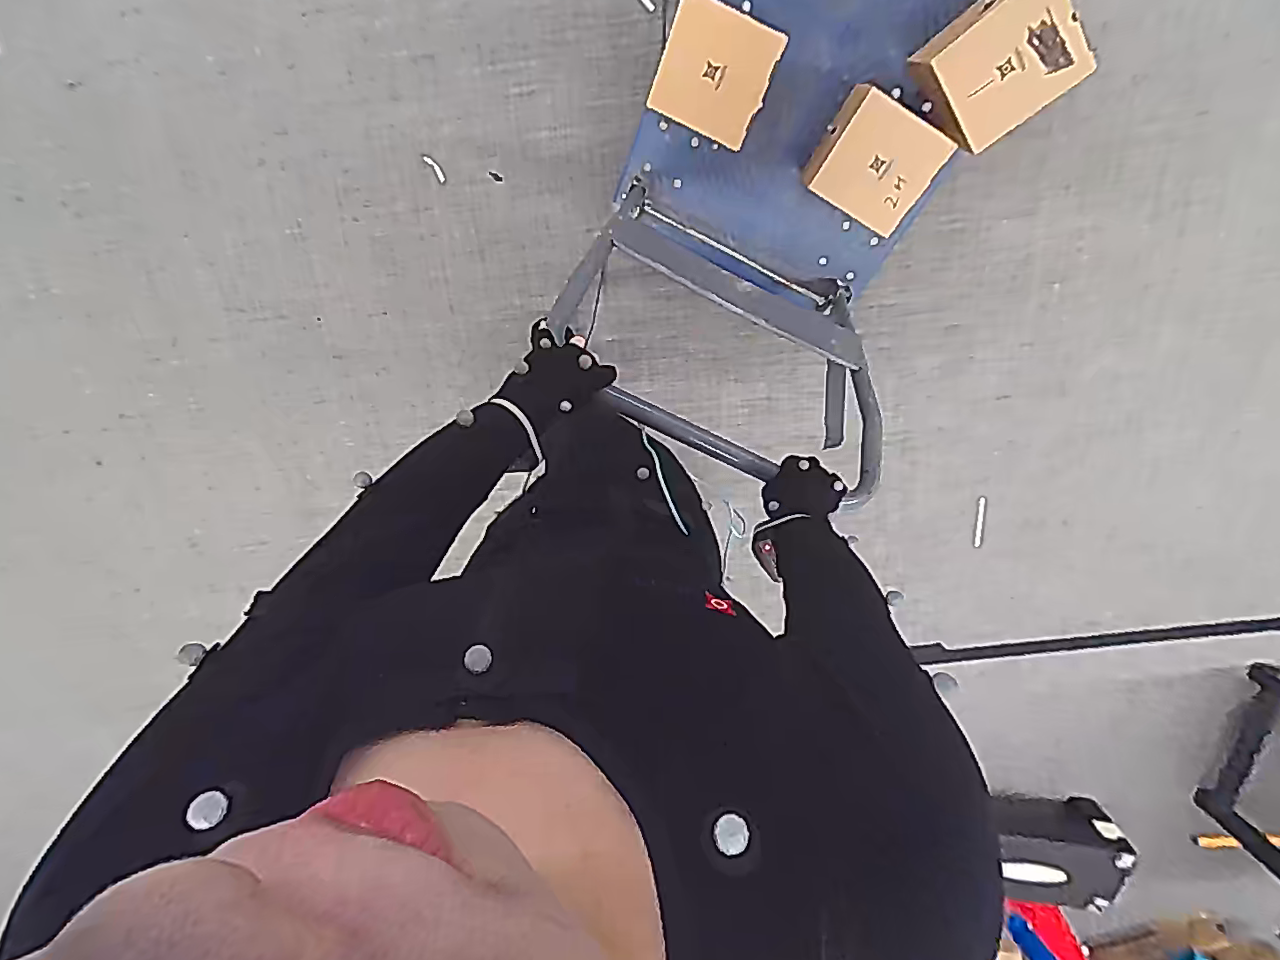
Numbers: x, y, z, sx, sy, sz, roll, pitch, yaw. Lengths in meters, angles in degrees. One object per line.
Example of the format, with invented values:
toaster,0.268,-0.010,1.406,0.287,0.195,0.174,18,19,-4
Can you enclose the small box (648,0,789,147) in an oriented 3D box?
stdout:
small box,0.132,-0.704,0.928,0.179,0.176,0.168,22,128,-8

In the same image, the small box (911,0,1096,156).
small box,0.569,-0.665,0.867,0.179,0.176,0.168,-30,116,30

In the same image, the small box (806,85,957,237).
small box,0.417,-0.573,0.970,0.179,0.176,0.168,28,128,-10
